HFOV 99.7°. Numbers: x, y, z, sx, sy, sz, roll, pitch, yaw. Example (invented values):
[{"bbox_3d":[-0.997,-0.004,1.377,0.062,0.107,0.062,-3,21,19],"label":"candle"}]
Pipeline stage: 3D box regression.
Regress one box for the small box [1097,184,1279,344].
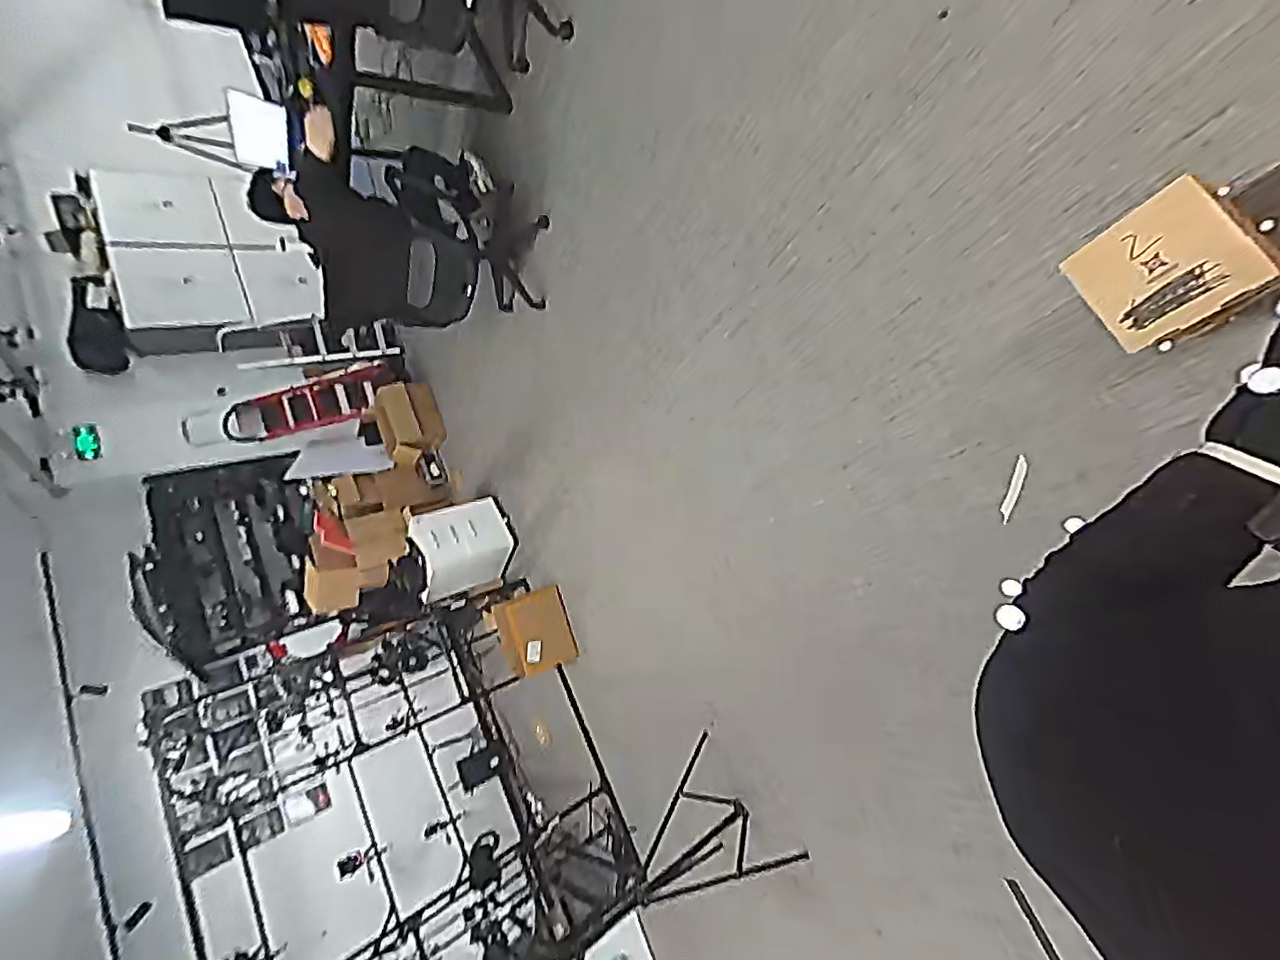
[{"bbox_3d":[0.907,-0.343,0.876,0.179,0.176,0.168,60,143,18],"label":"small box"}]
